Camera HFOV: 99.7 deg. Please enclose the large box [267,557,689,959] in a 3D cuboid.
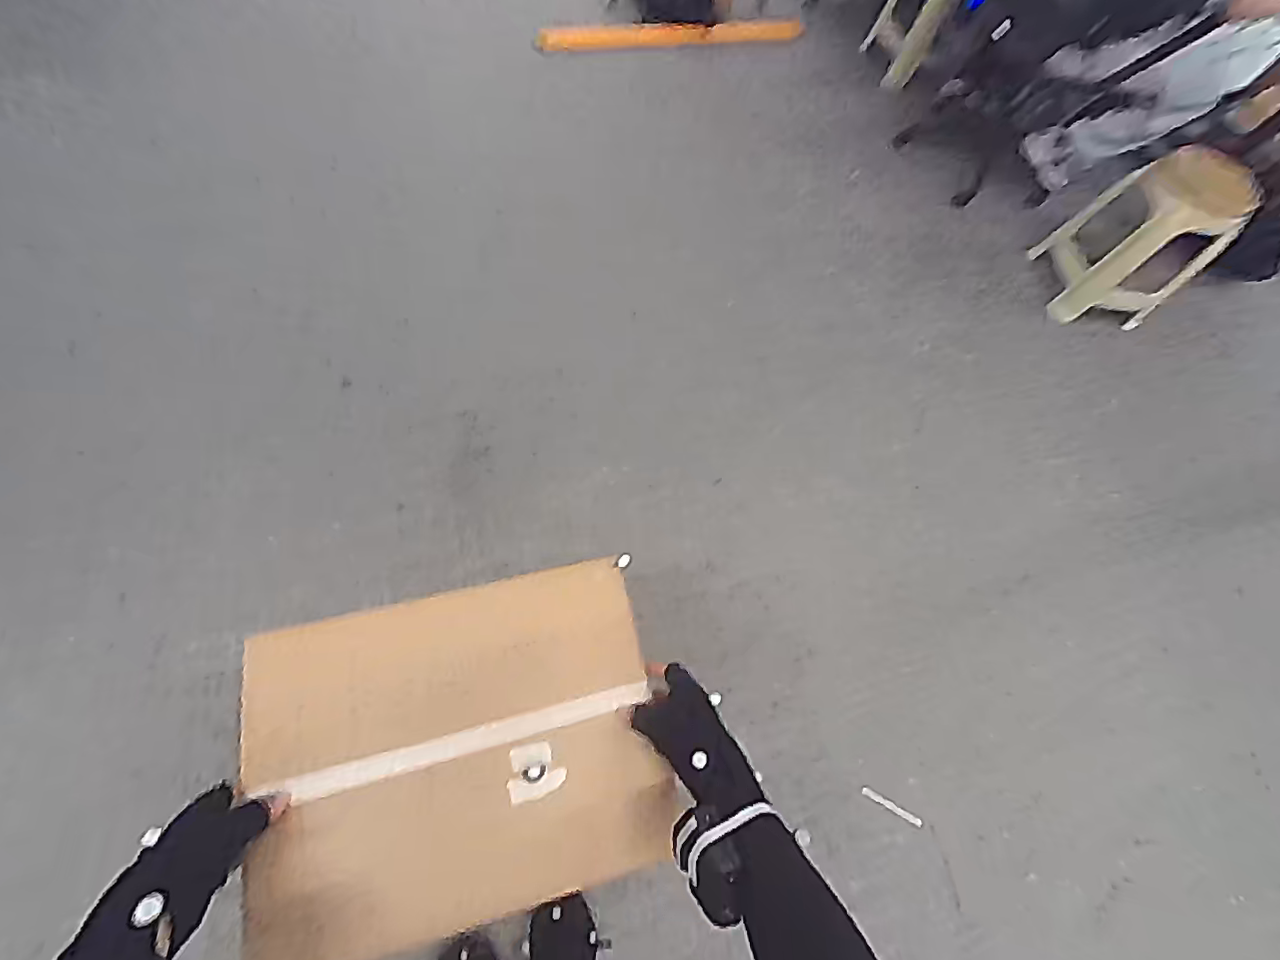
[{"bbox_3d":[-0.194,0.330,0.706,0.408,0.320,0.320,-11,68,-12],"label":"large box"}]
